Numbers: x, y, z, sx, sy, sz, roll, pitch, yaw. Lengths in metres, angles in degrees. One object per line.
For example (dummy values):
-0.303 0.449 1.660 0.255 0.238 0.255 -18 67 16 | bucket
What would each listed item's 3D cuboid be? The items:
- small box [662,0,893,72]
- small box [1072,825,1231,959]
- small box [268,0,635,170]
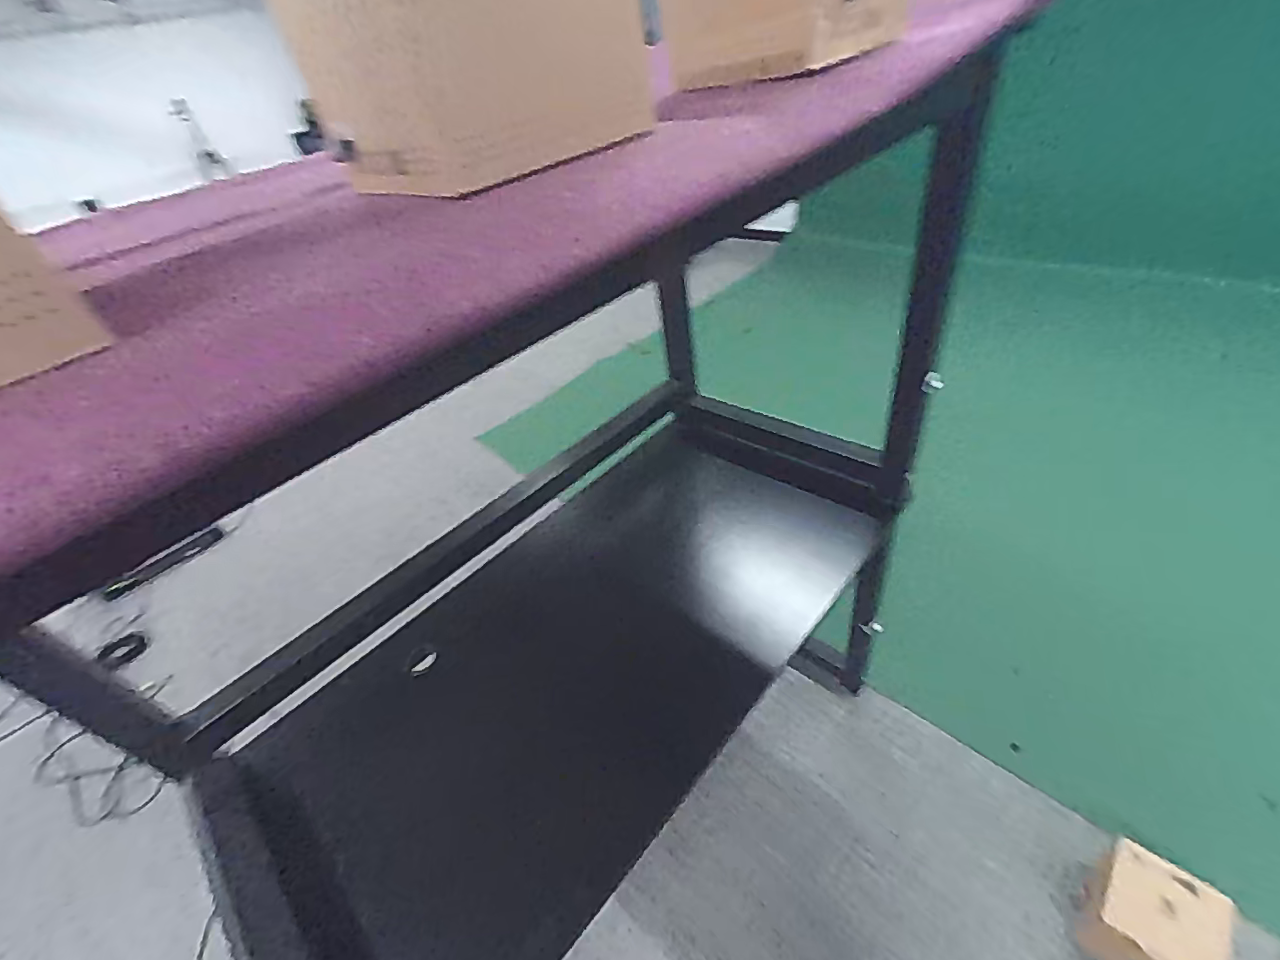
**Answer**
0.126 -0.511 0.514 0.168 0.176 0.179 -38 45 -25 | small box
0.963 0.818 1.031 0.168 0.176 0.179 25 53 36 | small box
-0.124 -0.312 0.348 0.168 0.176 0.179 26 53 38 | small box
